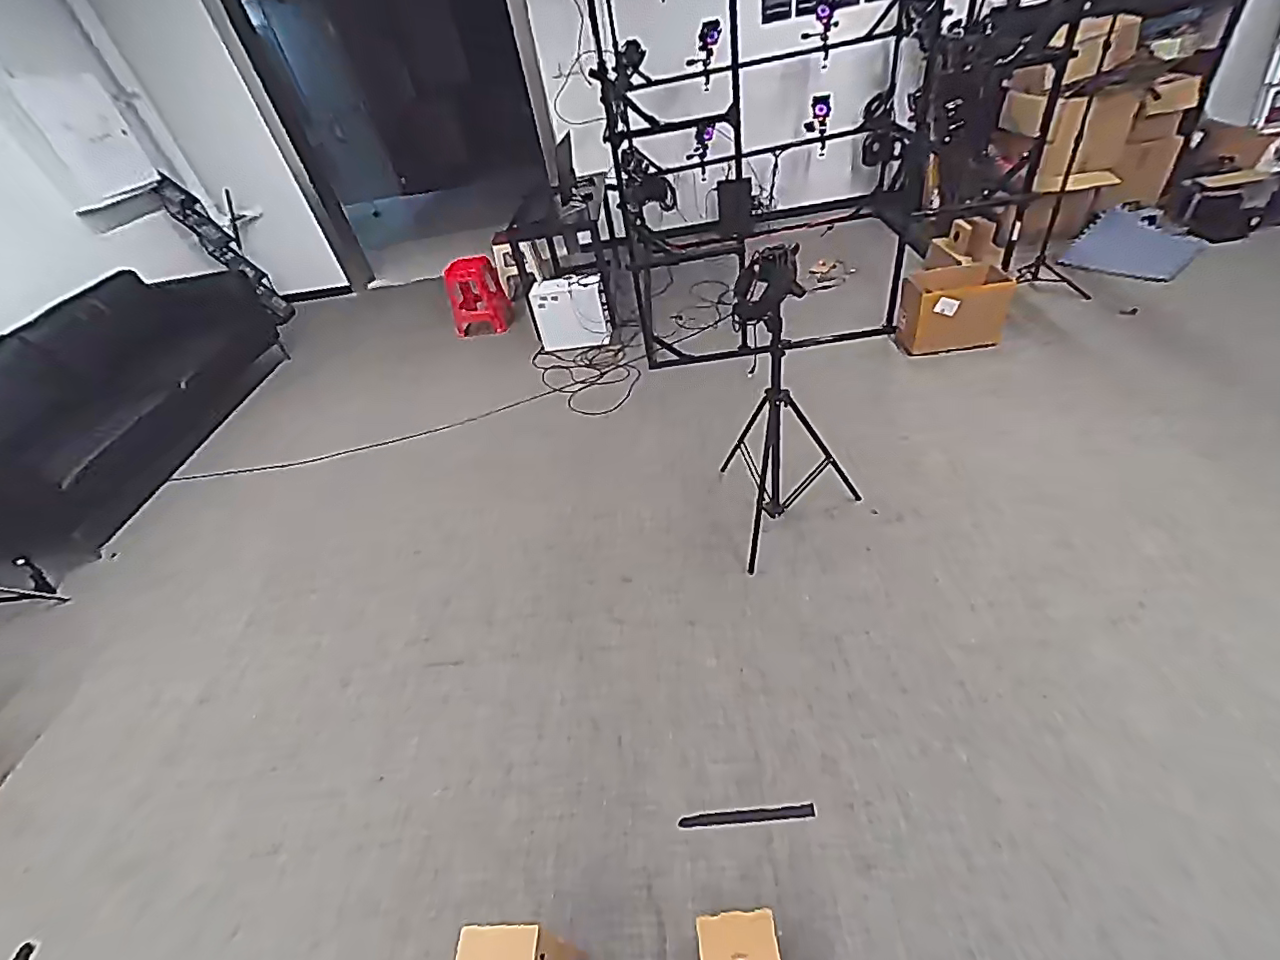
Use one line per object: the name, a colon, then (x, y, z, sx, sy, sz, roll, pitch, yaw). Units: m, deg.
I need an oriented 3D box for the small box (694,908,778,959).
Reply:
small box: (0.215, 1.049, 1.153, 0.168, 0.176, 0.179, -9, 39, 3)

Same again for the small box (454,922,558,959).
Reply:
small box: (-0.270, 1.005, 1.070, 0.168, 0.176, 0.179, -7, 41, 8)

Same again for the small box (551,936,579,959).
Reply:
small box: (-0.234, 1.125, 1.178, 0.168, 0.176, 0.179, -7, 40, 8)
